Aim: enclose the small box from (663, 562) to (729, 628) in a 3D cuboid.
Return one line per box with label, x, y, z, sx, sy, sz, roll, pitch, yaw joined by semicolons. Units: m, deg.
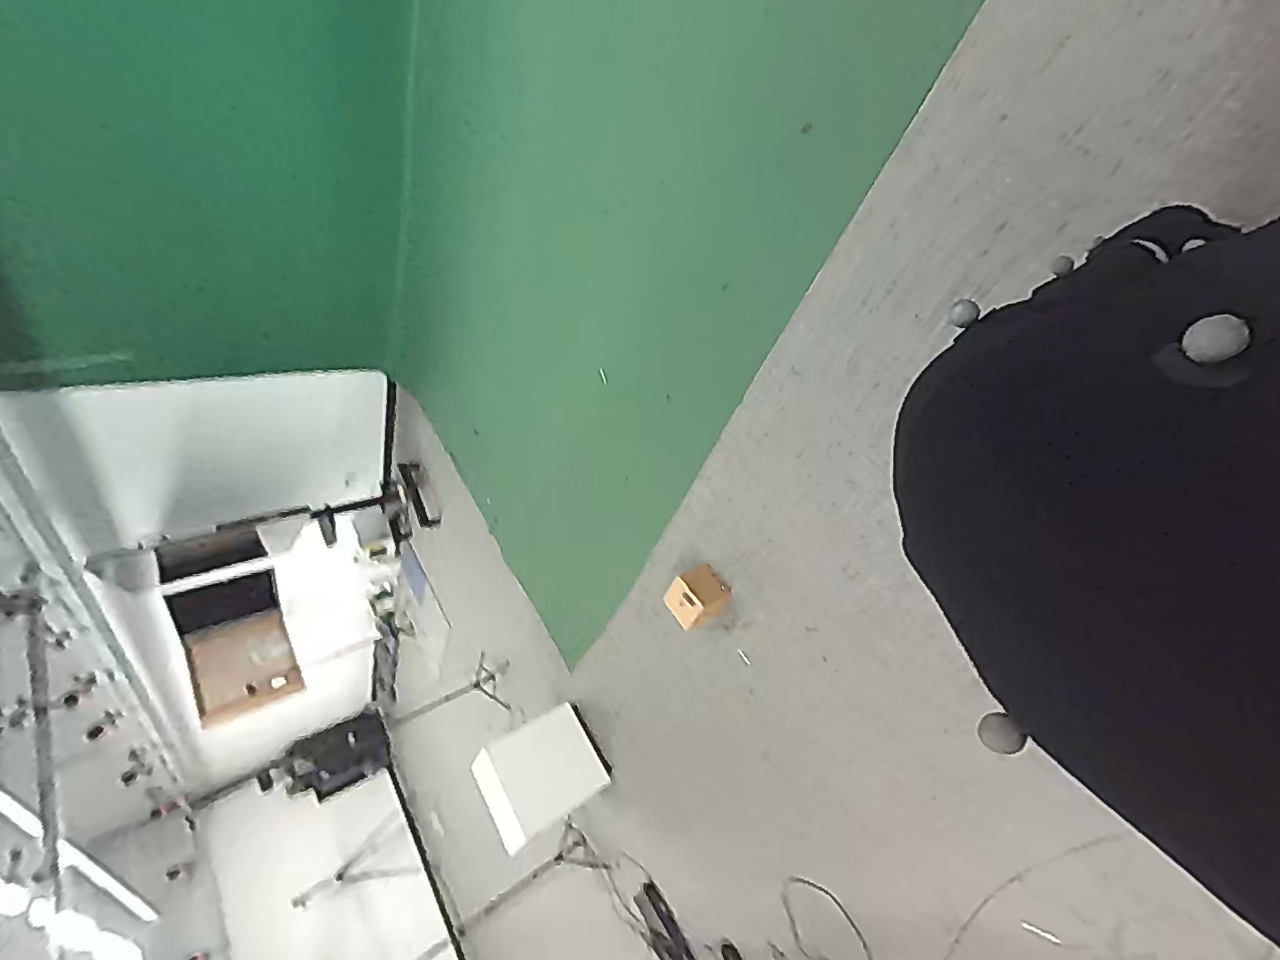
small box;0.229;0.456;2.162;0.168;0.176;0.179;51;136;28
